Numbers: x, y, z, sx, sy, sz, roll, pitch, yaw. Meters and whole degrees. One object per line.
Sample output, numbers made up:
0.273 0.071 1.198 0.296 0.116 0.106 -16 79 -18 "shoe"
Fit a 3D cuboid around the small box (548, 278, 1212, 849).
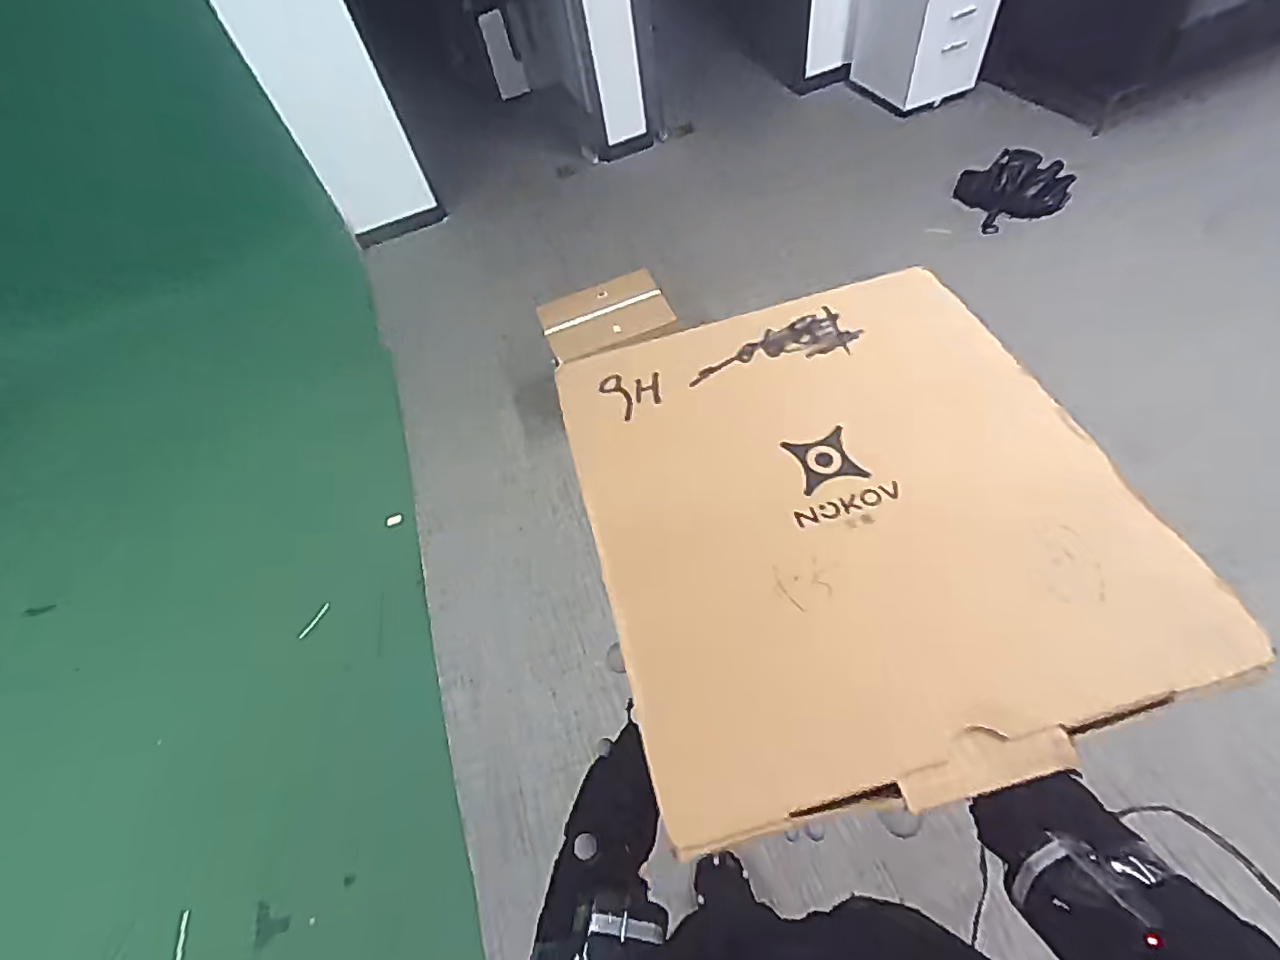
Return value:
0.068 0.045 0.255 0.168 0.176 0.179 -15 58 -1 "small box"
